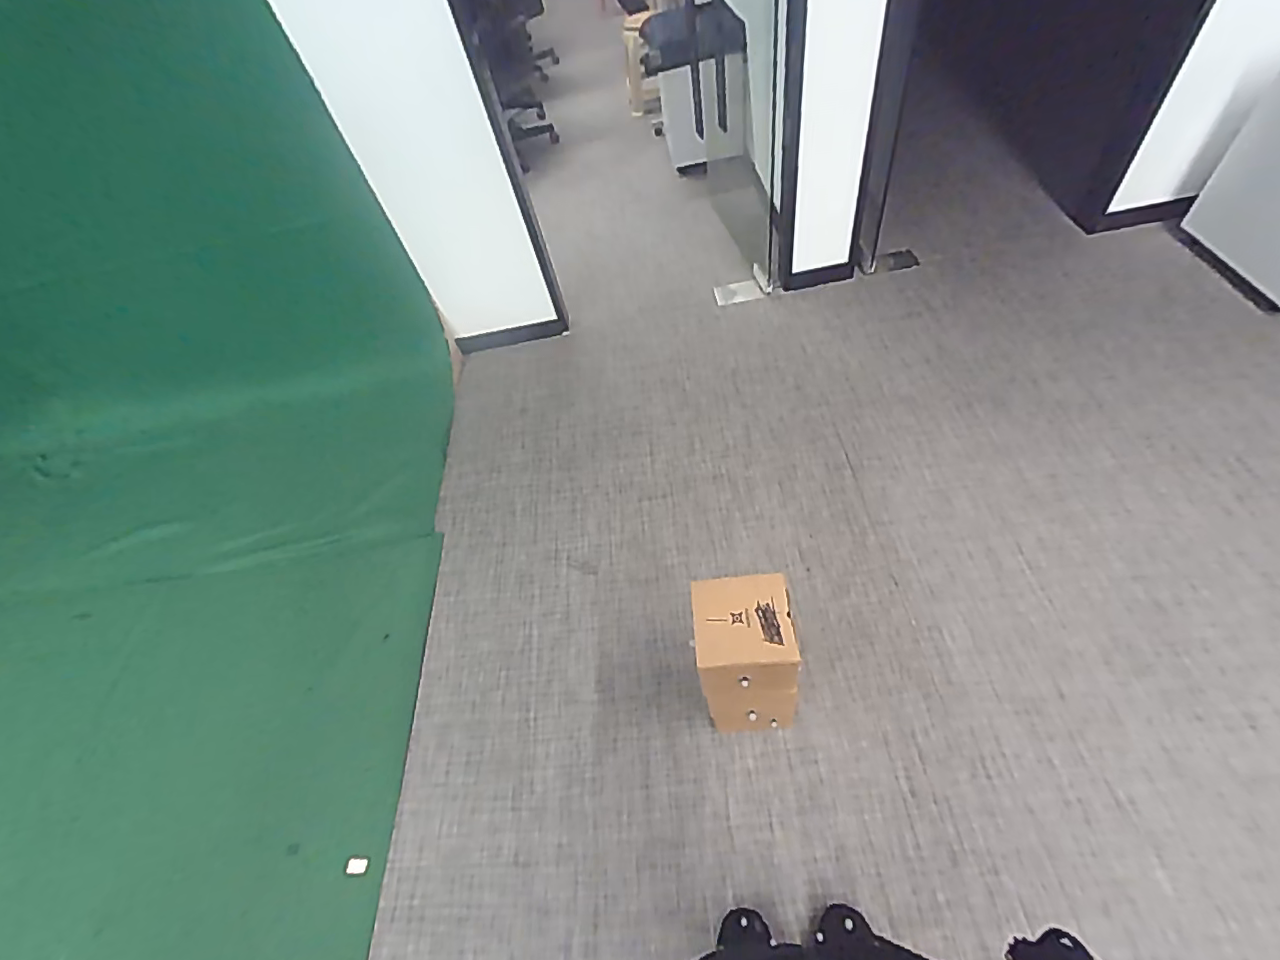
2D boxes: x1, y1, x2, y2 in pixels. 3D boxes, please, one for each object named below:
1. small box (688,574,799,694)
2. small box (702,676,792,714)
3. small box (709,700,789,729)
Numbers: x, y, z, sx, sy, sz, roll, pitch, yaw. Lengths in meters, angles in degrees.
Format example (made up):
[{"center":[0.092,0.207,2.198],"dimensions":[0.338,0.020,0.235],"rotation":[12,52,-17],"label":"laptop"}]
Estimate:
[{"center":[0.190,0.295,1.027],"dimensions":[0.179,0.176,0.168],"rotation":[-8,53,5],"label":"small box"},{"center":[0.220,0.393,1.156],"dimensions":[0.179,0.176,0.168],"rotation":[-4,53,8],"label":"small box"},{"center":[0.248,0.485,1.289],"dimensions":[0.179,0.176,0.168],"rotation":[-9,52,7],"label":"small box"}]
